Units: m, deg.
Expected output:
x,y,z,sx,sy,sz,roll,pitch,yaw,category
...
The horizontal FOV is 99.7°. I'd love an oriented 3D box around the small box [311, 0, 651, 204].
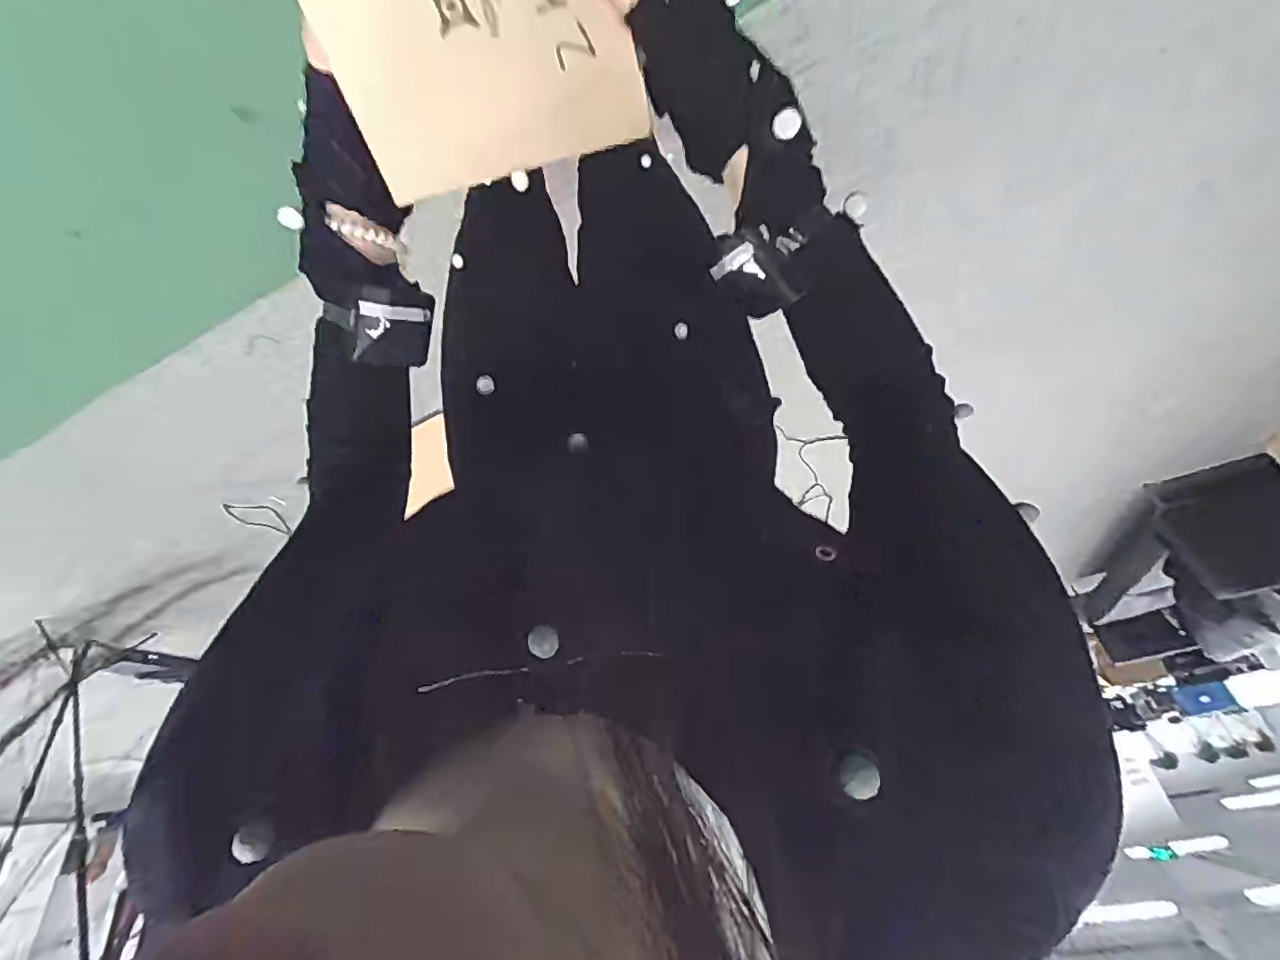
x,y,z,sx,sy,sz,roll,pitch,yaw,category
-0.098,-0.311,0.373,0.179,0.176,0.168,-13,128,3,small box
